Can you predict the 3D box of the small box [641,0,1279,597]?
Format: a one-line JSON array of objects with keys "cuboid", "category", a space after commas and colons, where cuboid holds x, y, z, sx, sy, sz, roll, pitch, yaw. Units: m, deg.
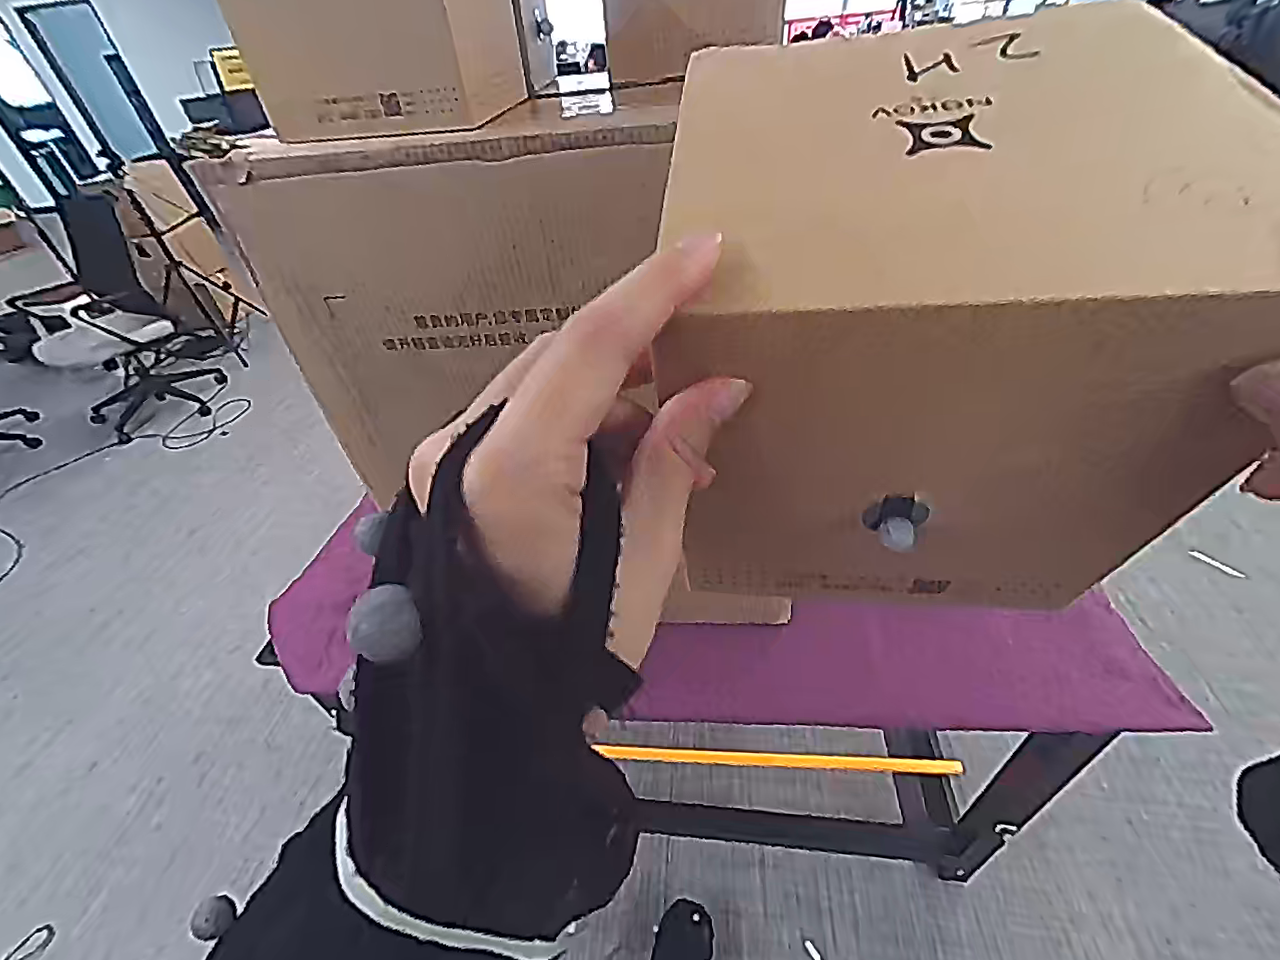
[{"cuboid": [0.101, -0.064, 0.229, 0.168, 0.176, 0.179, 1, 54, 10], "category": "small box"}]
